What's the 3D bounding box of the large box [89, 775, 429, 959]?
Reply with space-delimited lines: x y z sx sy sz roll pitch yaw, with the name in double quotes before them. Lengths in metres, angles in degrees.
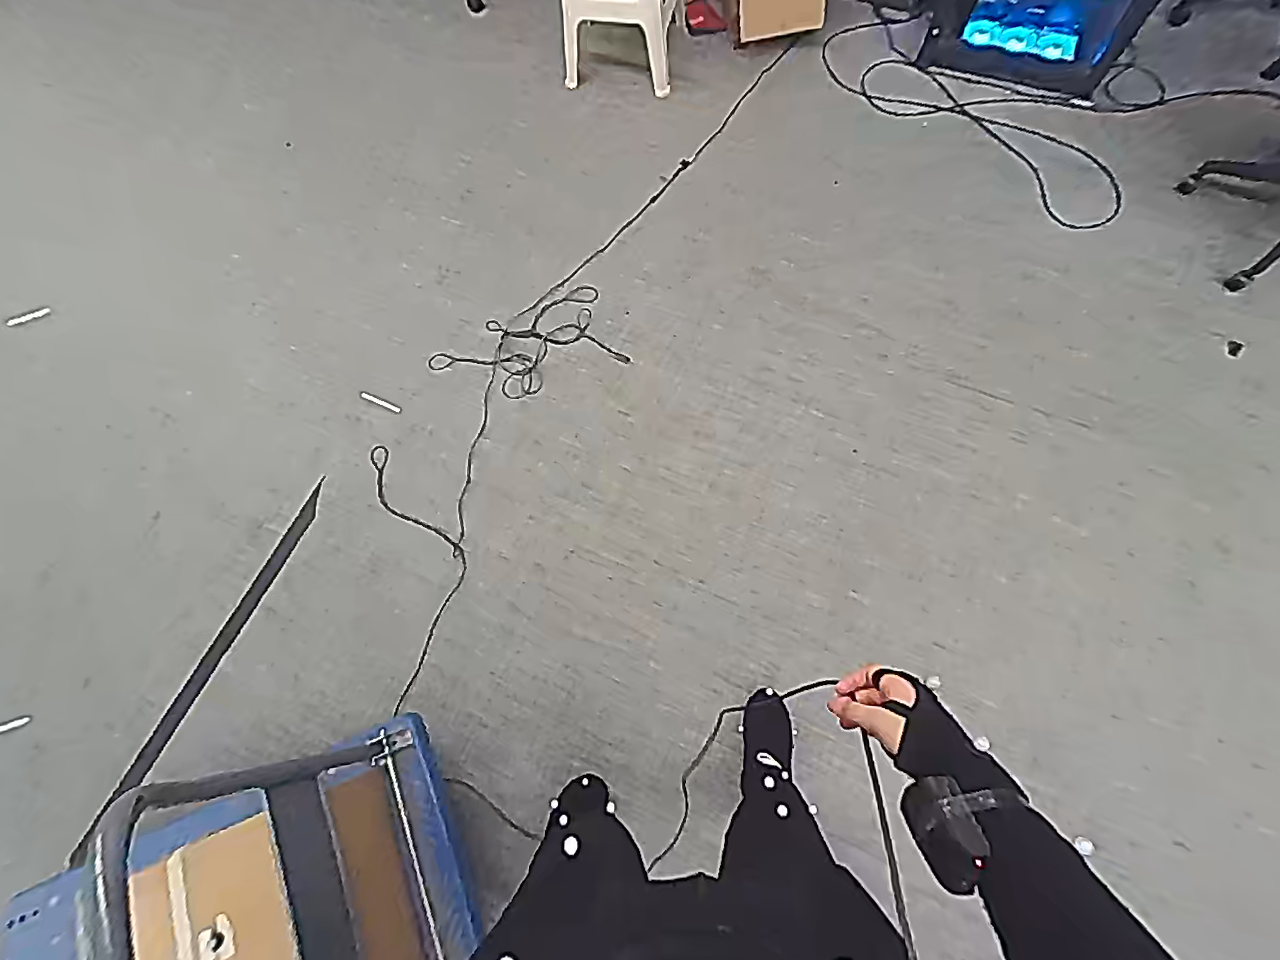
"large box" -0.598 0.783 0.899 0.320 0.320 0.408 -24 70 -6
